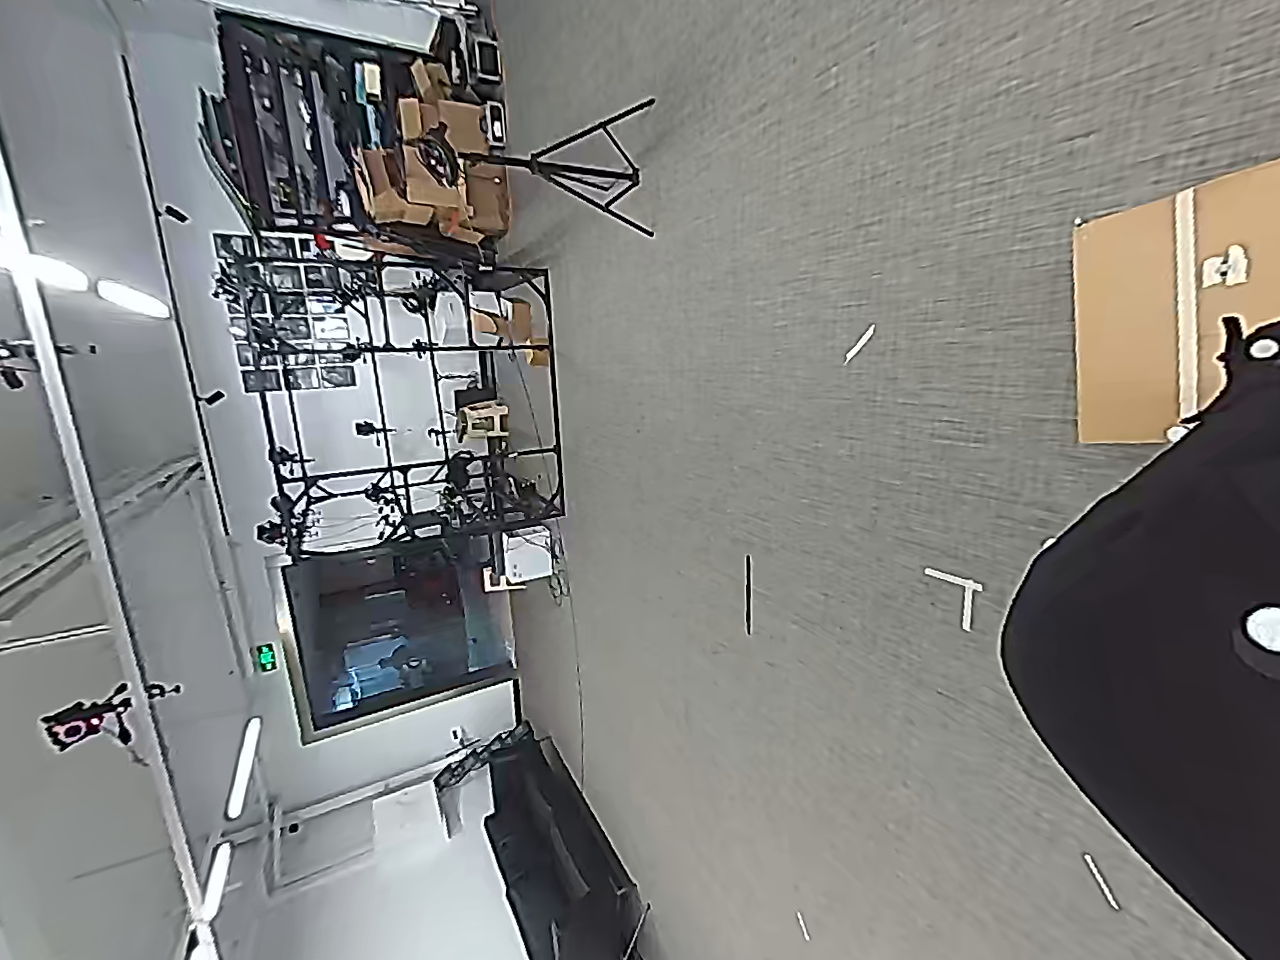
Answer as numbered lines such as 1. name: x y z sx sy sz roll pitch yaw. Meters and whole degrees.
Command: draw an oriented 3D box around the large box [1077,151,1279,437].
1. large box: 1.022 -0.292 0.935 0.320 0.320 0.408 3 100 62
